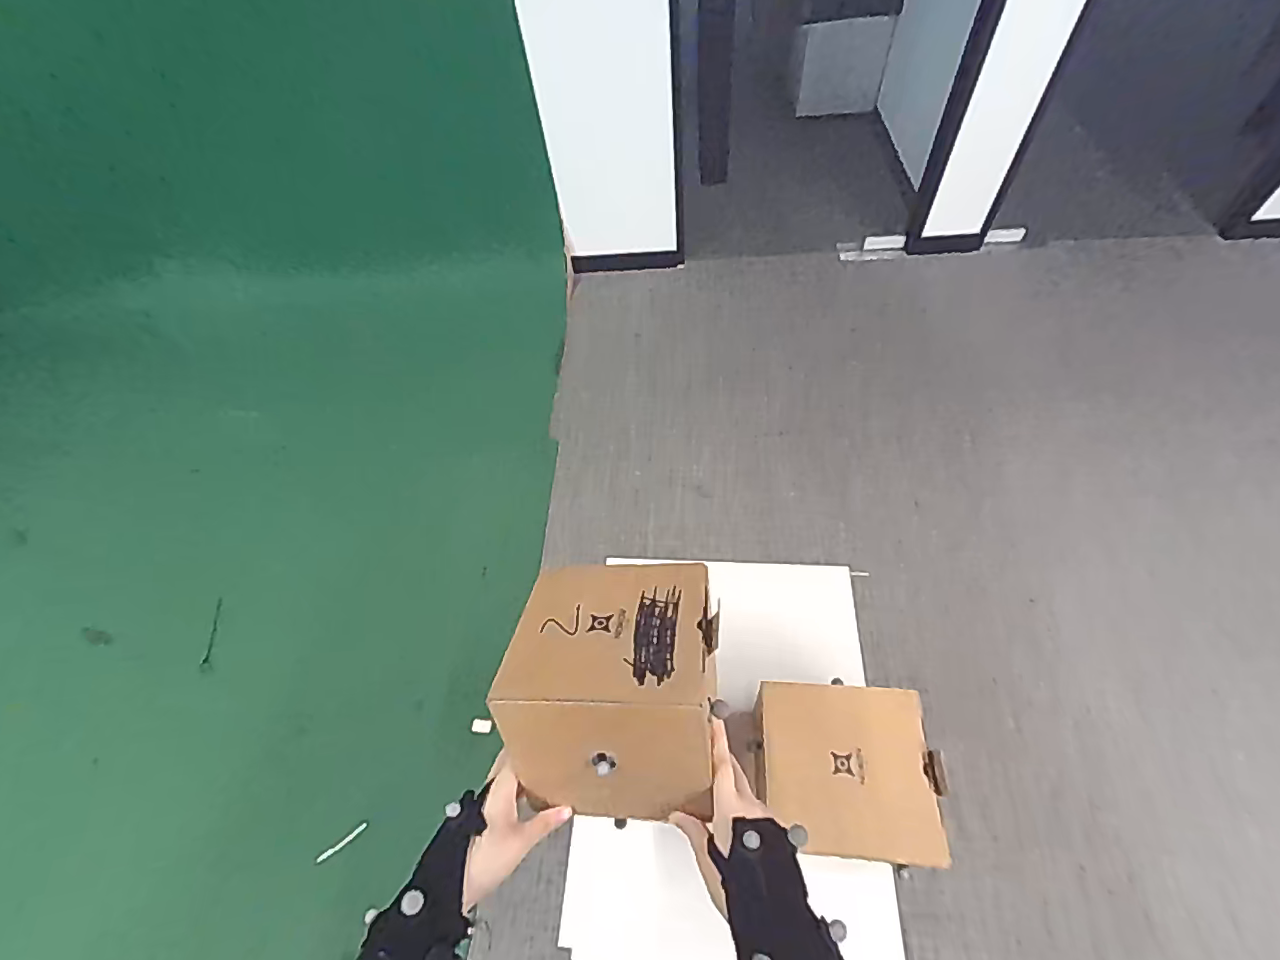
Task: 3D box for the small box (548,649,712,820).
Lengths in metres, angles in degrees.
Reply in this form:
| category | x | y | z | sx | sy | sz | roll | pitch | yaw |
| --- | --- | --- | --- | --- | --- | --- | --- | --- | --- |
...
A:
| category | x | y | z | sx | sy | sz | roll | pitch | yaw |
| --- | --- | --- | --- | --- | --- | --- | --- | --- | --- |
| small box | 0.000 | 0.321 | 0.676 | 0.179 | 0.176 | 0.168 | 1 | 57 | 6 |
